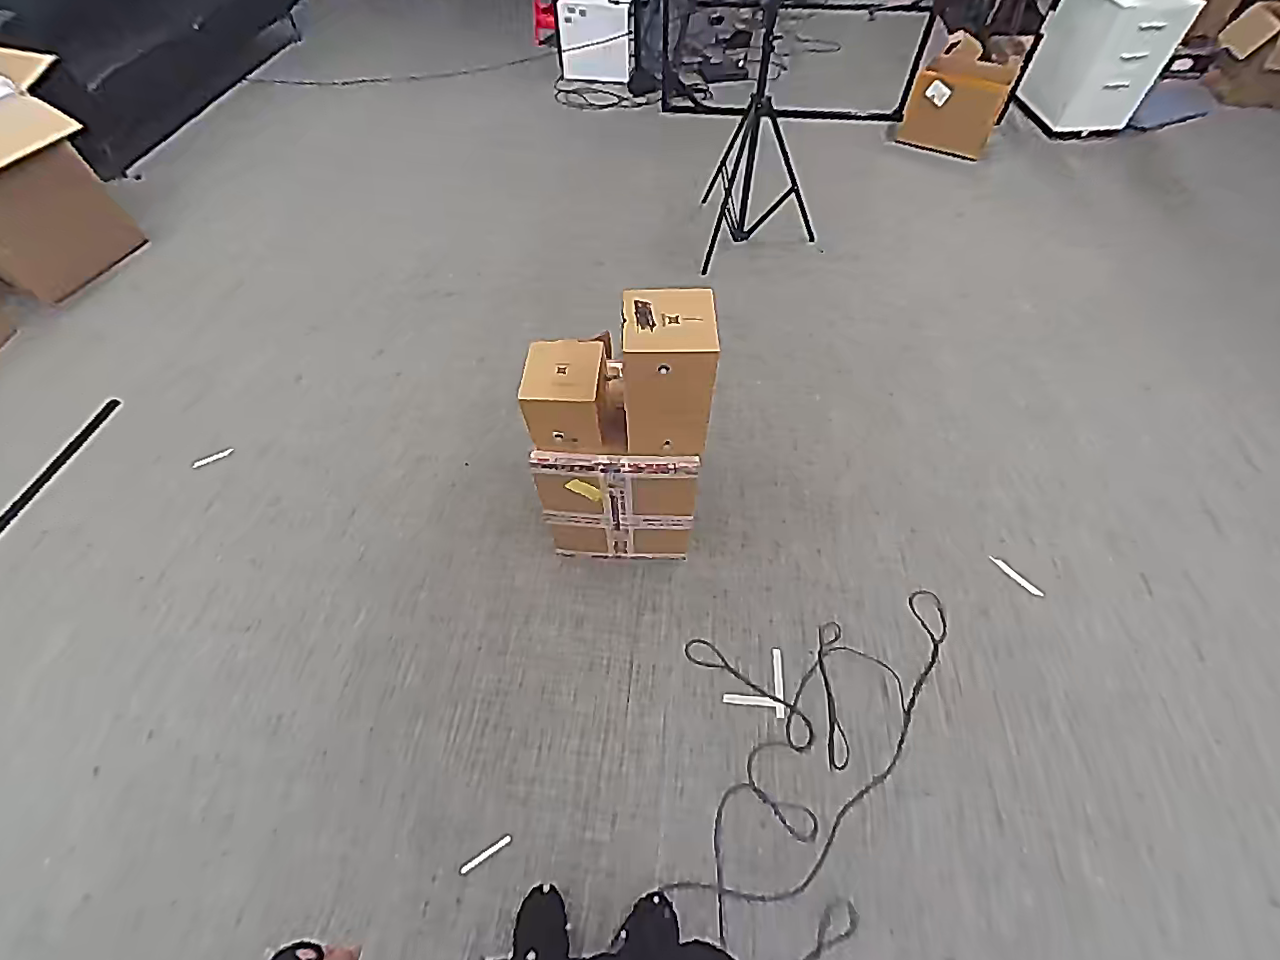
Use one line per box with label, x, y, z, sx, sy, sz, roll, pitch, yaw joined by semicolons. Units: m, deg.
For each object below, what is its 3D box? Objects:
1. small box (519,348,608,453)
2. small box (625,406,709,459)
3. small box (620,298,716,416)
small box;-0.166;-0.181;1.240;0.168;0.176;0.179;1;59;4
small box;0.055;-0.158;1.222;0.179;0.176;0.168;-1;59;0
small box;0.052;-0.240;1.078;0.179;0.176;0.168;-1;59;0
